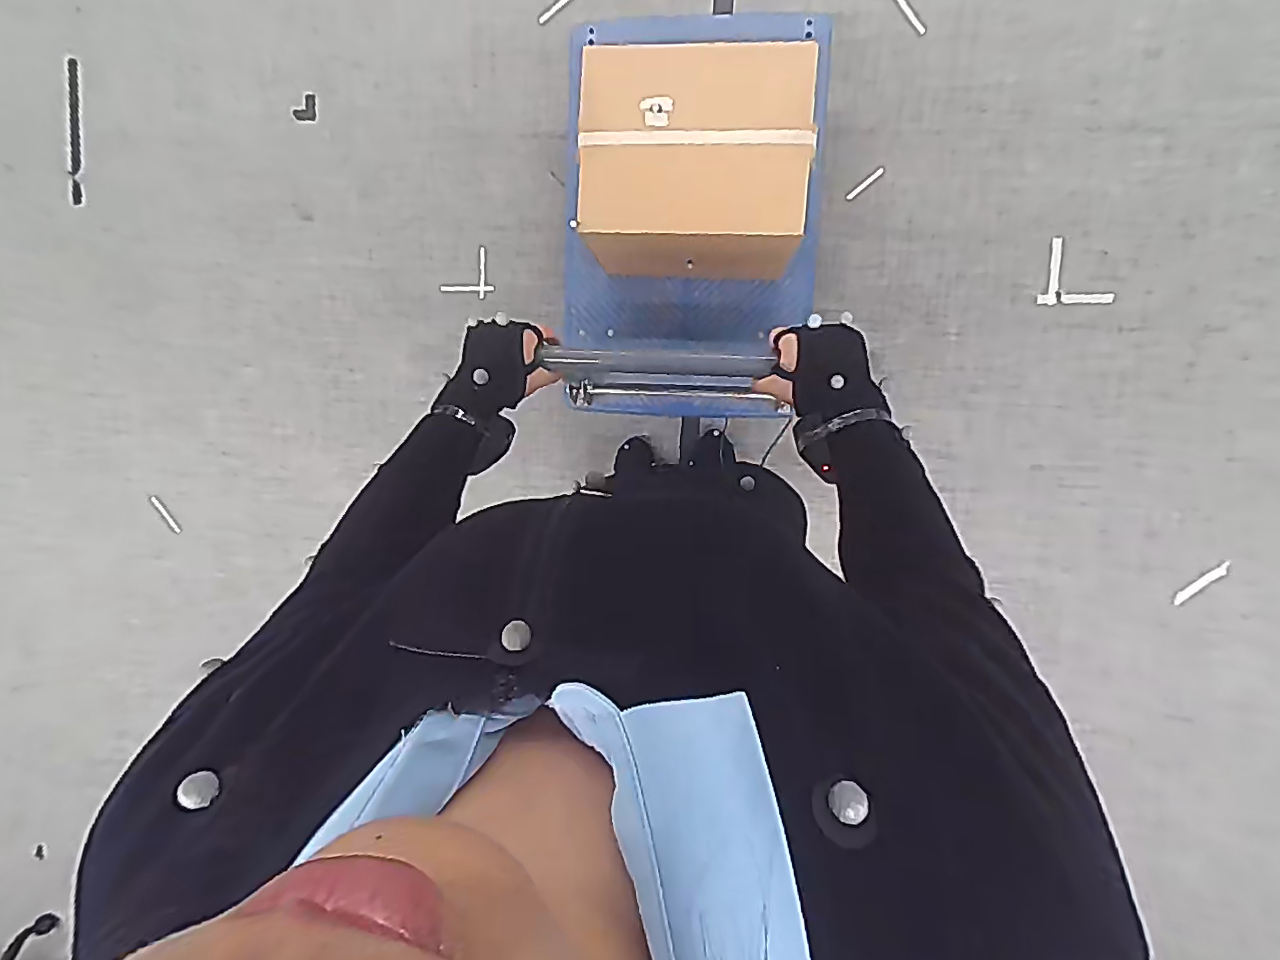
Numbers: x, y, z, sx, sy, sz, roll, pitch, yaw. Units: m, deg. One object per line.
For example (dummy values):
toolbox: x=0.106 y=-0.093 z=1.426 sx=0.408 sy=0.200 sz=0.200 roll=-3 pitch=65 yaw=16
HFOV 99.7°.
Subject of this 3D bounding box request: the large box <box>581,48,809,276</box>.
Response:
large box: x=0.111 y=-0.613 z=1.112 sx=0.408 sy=0.320 sz=0.320 roll=3 pitch=96 yaw=7
